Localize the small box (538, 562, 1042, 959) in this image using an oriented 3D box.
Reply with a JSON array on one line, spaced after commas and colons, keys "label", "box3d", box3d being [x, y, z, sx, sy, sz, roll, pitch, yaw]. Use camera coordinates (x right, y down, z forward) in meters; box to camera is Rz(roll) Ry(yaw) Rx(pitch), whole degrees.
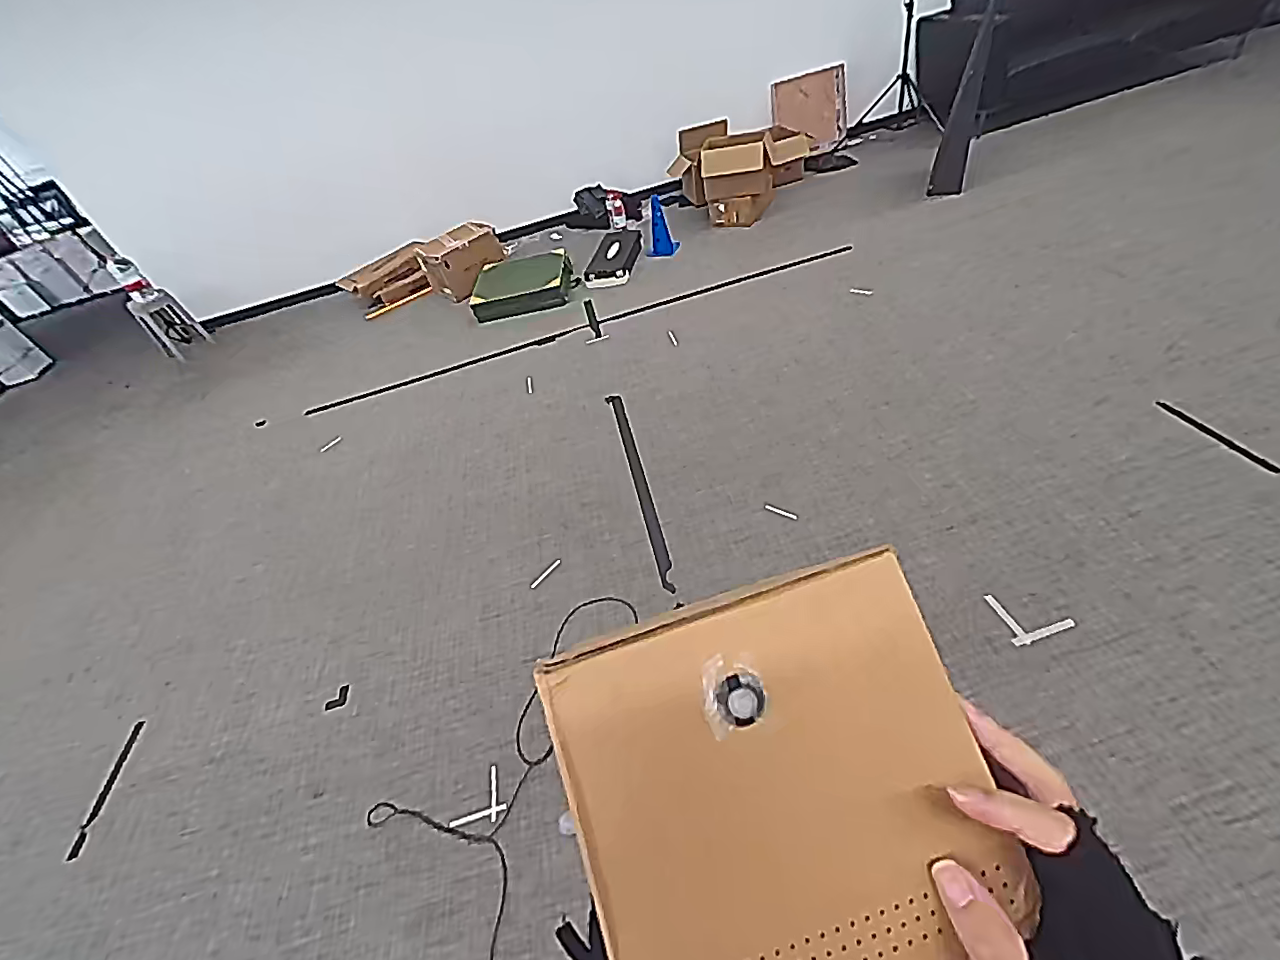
[{"label": "small box", "box3d": [0.063, 0.160, 0.303, 0.179, 0.168, 0.176, -18, 77, -4]}]
